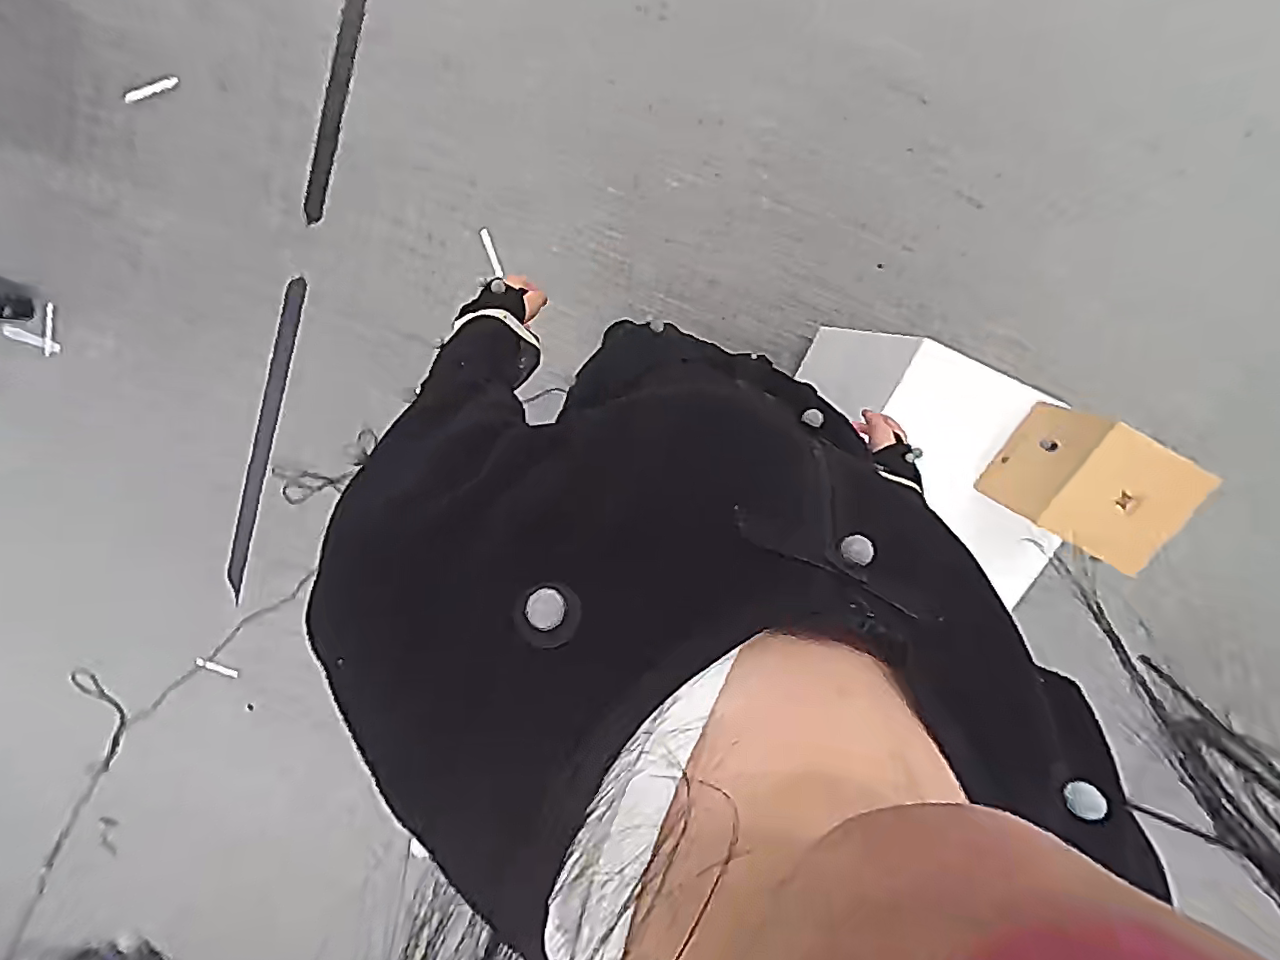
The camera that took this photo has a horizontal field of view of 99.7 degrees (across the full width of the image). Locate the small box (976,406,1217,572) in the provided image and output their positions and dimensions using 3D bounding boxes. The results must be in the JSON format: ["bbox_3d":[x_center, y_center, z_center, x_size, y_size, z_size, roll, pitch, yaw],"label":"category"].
[{"bbox_3d":[0.657,0.002,0.807,0.179,0.176,0.168,27,107,-7],"label":"small box"}]
